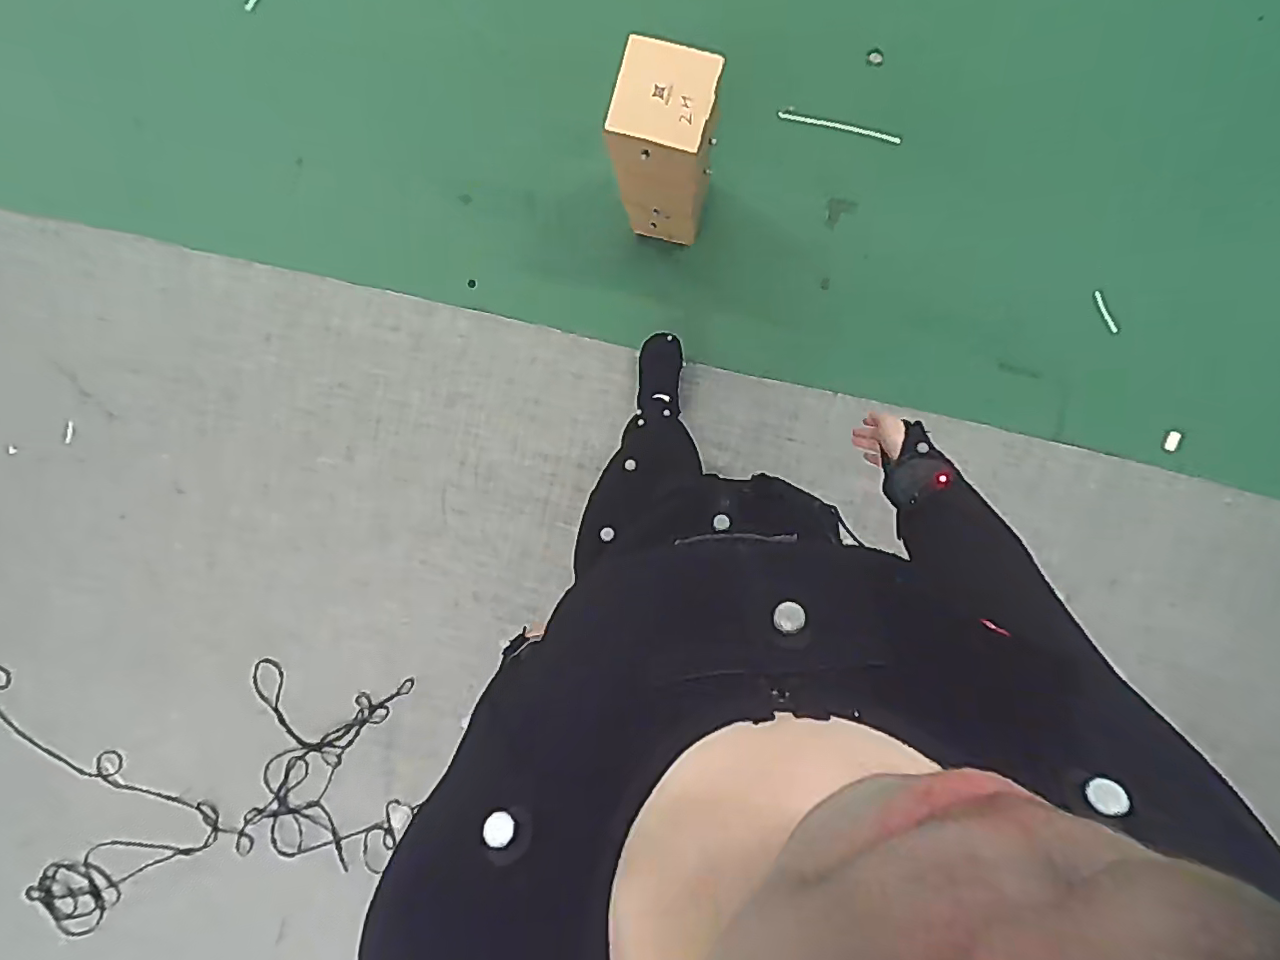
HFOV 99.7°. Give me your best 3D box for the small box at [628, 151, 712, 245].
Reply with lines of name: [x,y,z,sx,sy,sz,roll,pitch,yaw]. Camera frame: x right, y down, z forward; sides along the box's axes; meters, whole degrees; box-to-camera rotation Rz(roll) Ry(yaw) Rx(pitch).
small box: [0.079,-0.710,1.345,0.168,0.176,0.179,15,96,4]

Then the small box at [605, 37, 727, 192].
small box: [0.051,-0.674,1.019,0.179,0.176,0.168,18,97,3]
